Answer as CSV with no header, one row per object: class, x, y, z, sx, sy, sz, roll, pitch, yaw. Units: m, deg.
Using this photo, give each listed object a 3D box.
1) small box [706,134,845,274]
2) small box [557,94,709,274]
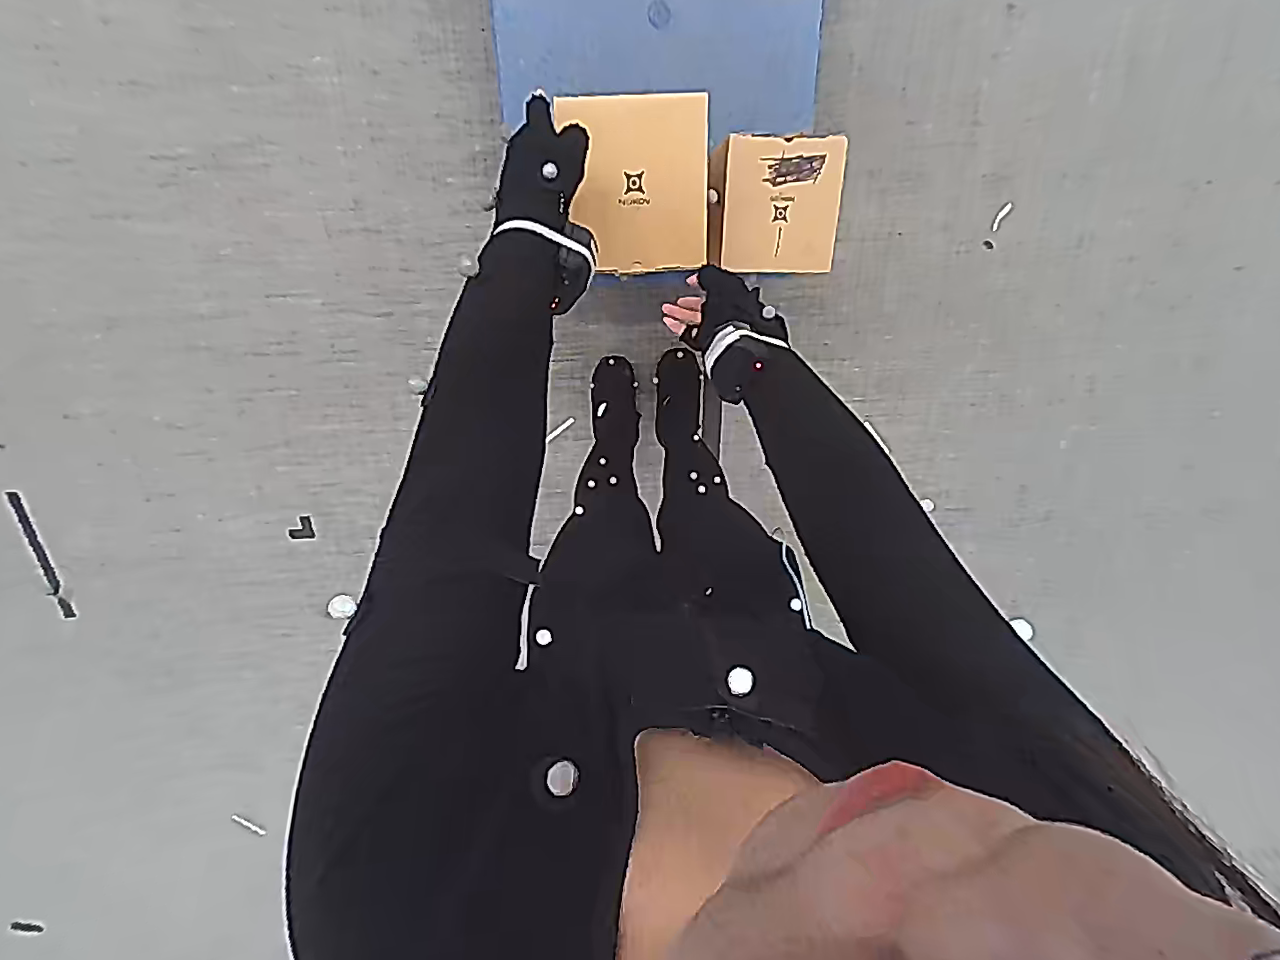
small box,0.194,-0.415,0.836,0.168,0.176,0.179,0,113,-2
small box,-0.010,-0.354,0.675,0.168,0.176,0.179,-3,113,-2
